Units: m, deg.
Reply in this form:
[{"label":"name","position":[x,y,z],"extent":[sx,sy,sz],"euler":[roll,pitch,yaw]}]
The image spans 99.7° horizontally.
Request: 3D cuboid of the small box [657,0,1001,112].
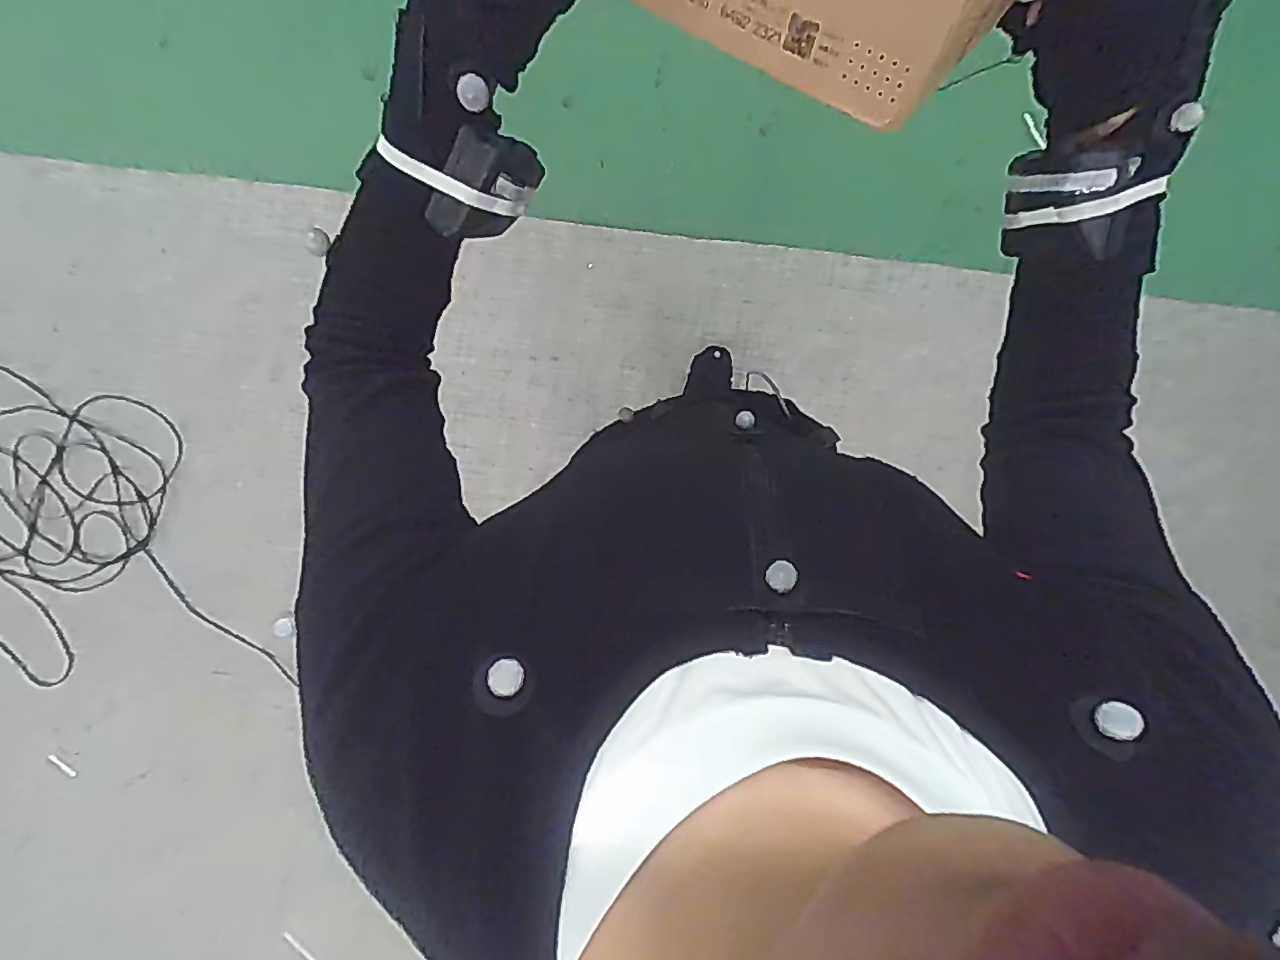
[{"label":"small box","position":[0.117,-0.314,0.240],"extent":[0.168,0.176,0.179],"euler":[35,66,11]}]
